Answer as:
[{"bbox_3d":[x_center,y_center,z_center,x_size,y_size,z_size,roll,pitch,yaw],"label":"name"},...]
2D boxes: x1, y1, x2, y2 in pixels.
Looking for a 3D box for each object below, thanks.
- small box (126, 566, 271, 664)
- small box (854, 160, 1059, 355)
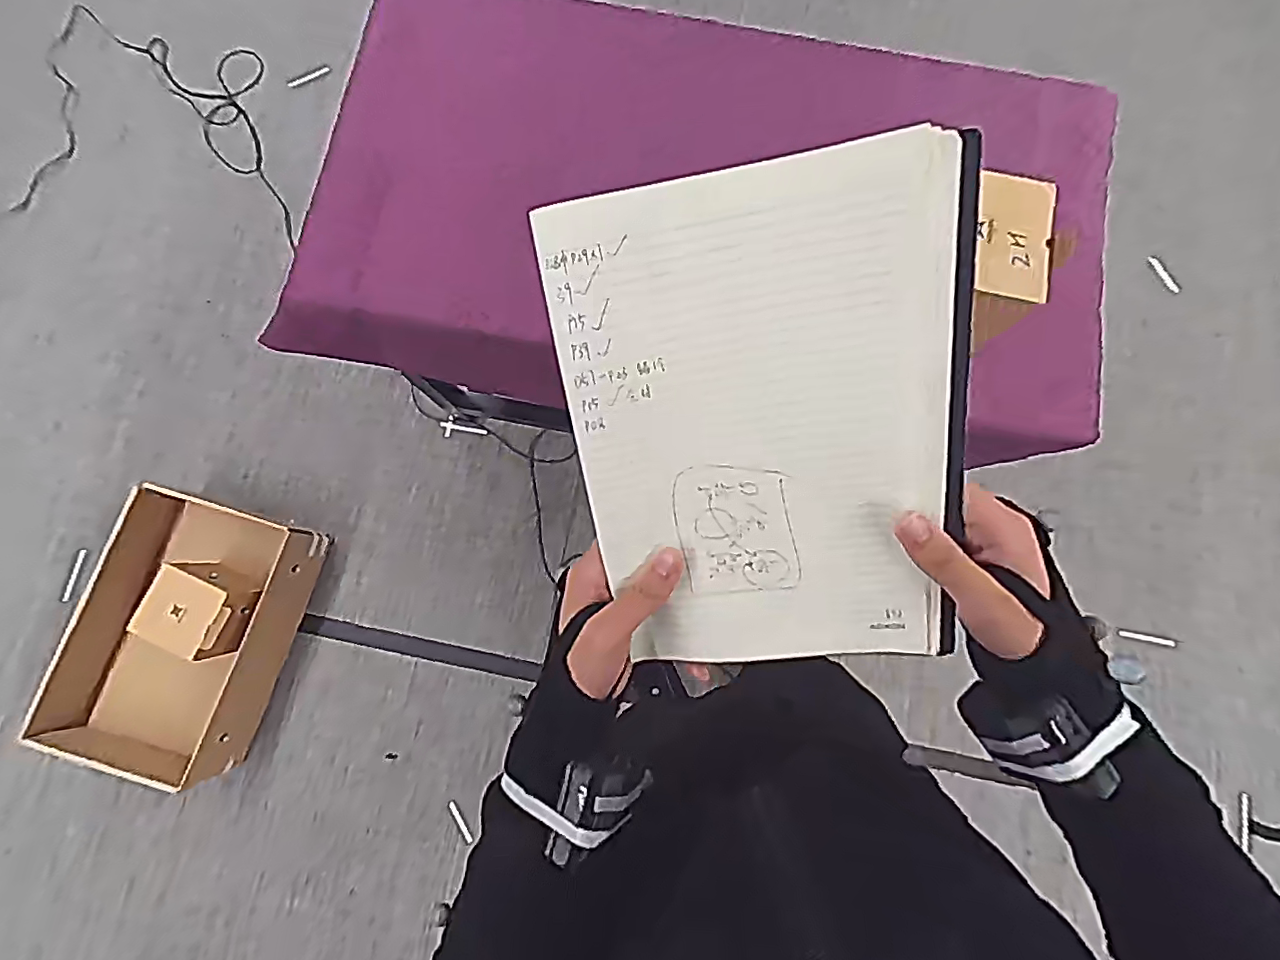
[{"bbox_3d":[-1.042,0.314,1.297,0.179,0.176,0.168,25,81,3],"label":"small box"},{"bbox_3d":[0.411,-0.286,0.729,0.179,0.176,0.168,12,80,1],"label":"small box"}]
